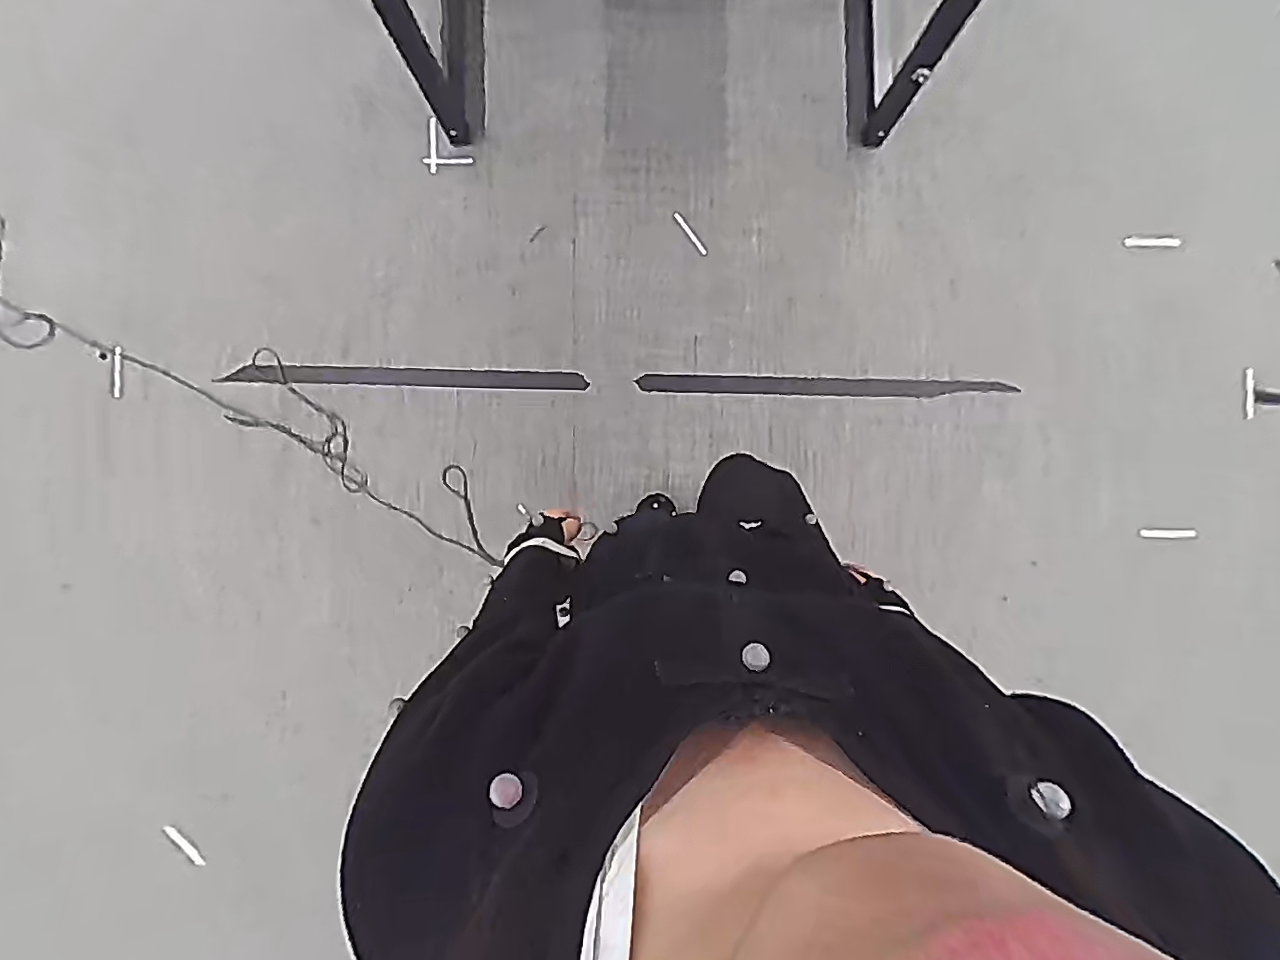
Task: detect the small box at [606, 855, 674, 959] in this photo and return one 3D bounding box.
[{"bbox_3d":[-0.001,1.106,1.398,0.168,0.176,0.179,-2,91,0],"label":"small box"}]
